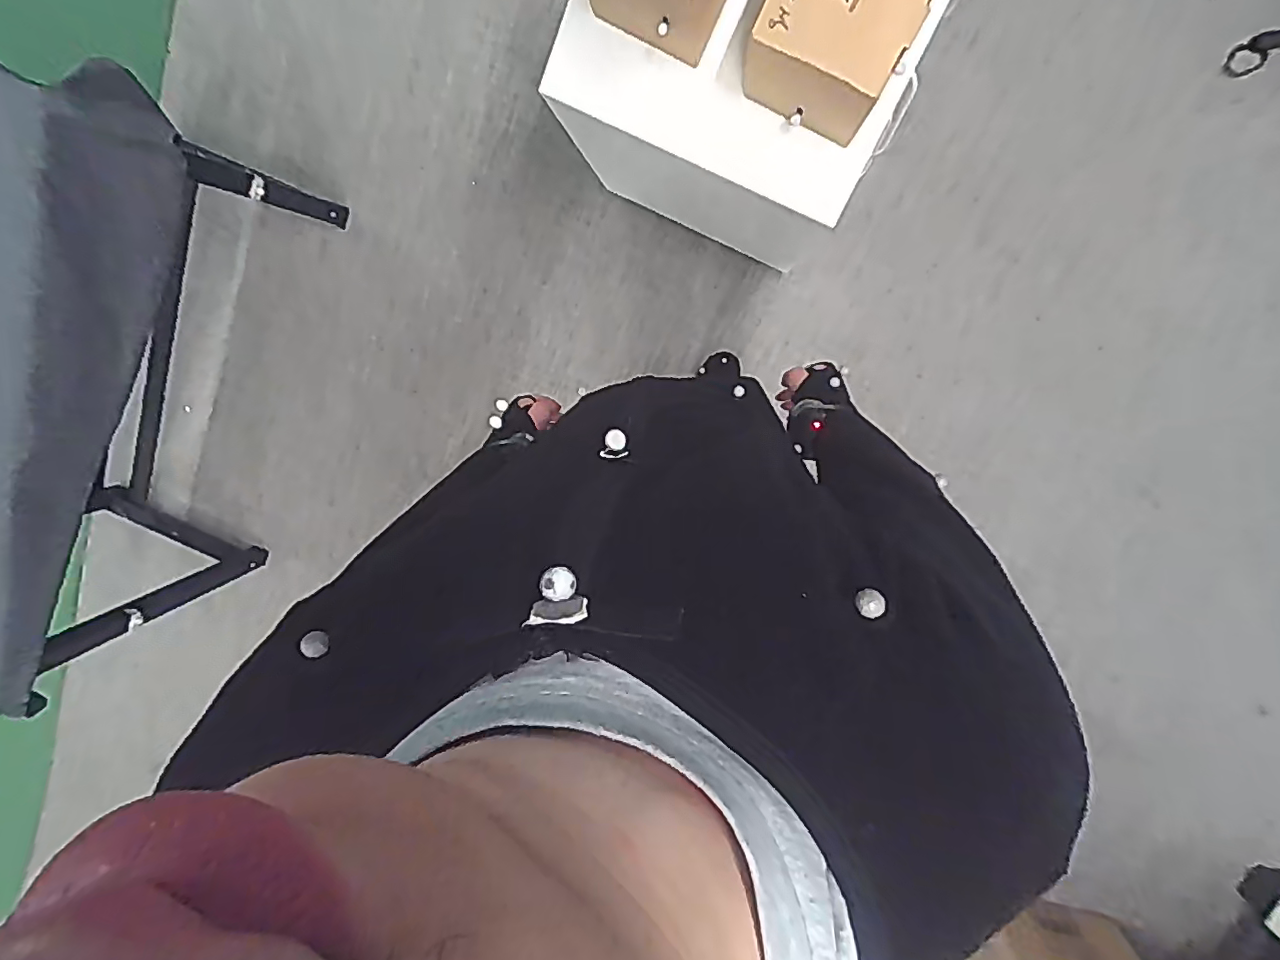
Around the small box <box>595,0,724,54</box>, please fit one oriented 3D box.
[{"bbox_3d":[0.037,-0.699,0.694,0.179,0.176,0.168,27,105,0],"label":"small box"}]

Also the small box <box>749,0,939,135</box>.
[{"bbox_3d":[0.258,-0.581,0.695,0.179,0.176,0.168,27,106,-1],"label":"small box"}]
